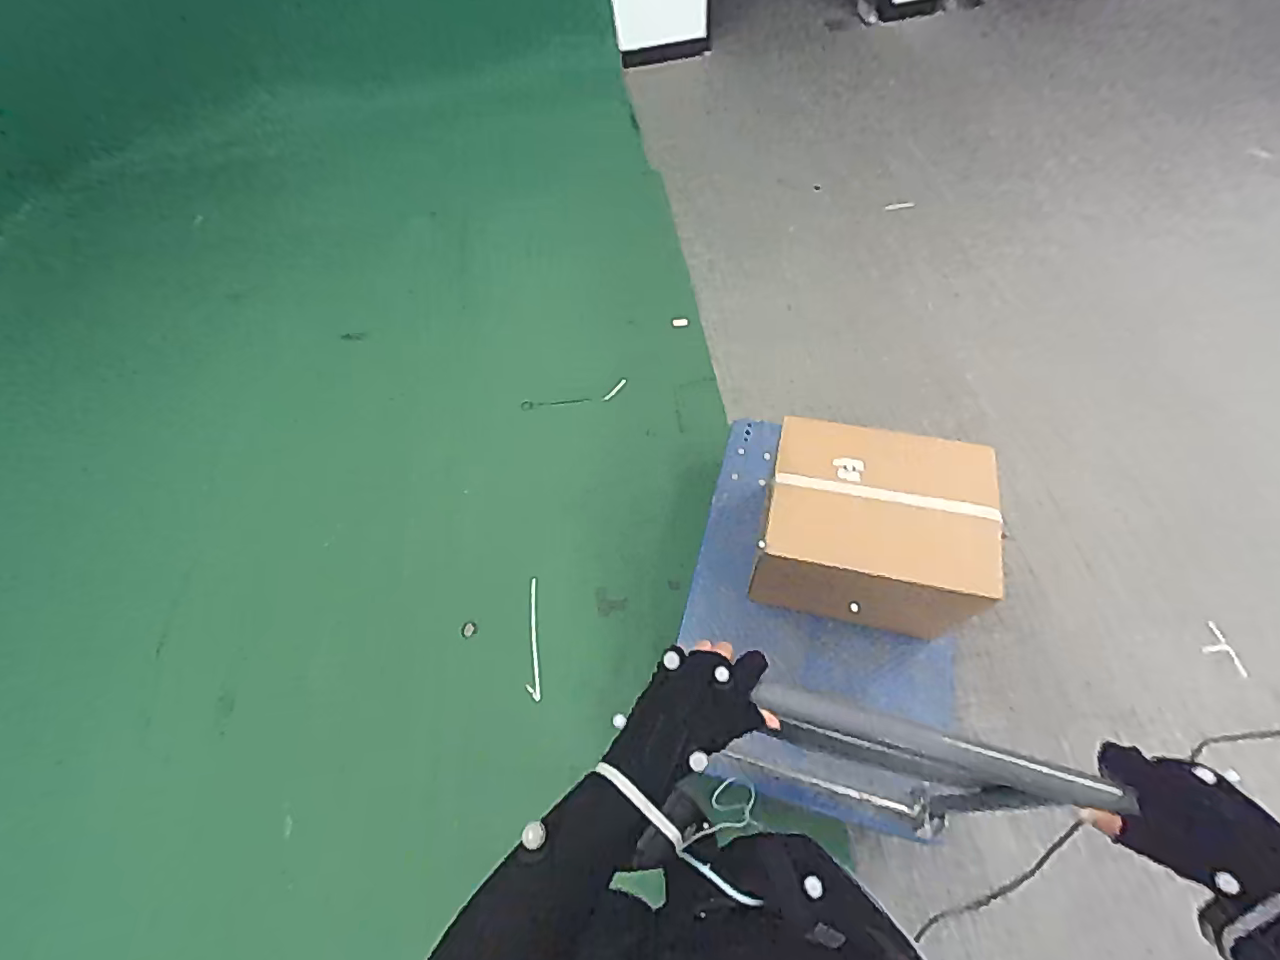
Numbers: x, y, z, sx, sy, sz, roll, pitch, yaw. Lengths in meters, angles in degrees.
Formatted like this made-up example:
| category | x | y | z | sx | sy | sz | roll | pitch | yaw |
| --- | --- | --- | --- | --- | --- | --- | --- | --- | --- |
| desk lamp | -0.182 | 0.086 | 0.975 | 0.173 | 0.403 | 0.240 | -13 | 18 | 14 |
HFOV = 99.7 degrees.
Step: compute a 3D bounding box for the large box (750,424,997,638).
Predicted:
| category | x | y | z | sx | sy | sz | roll | pitch | yaw |
| --- | --- | --- | --- | --- | --- | --- | --- | --- | --- |
| large box | 0.464 | 0.115 | 1.145 | 0.408 | 0.320 | 0.320 | 10 | 62 | 13 |
